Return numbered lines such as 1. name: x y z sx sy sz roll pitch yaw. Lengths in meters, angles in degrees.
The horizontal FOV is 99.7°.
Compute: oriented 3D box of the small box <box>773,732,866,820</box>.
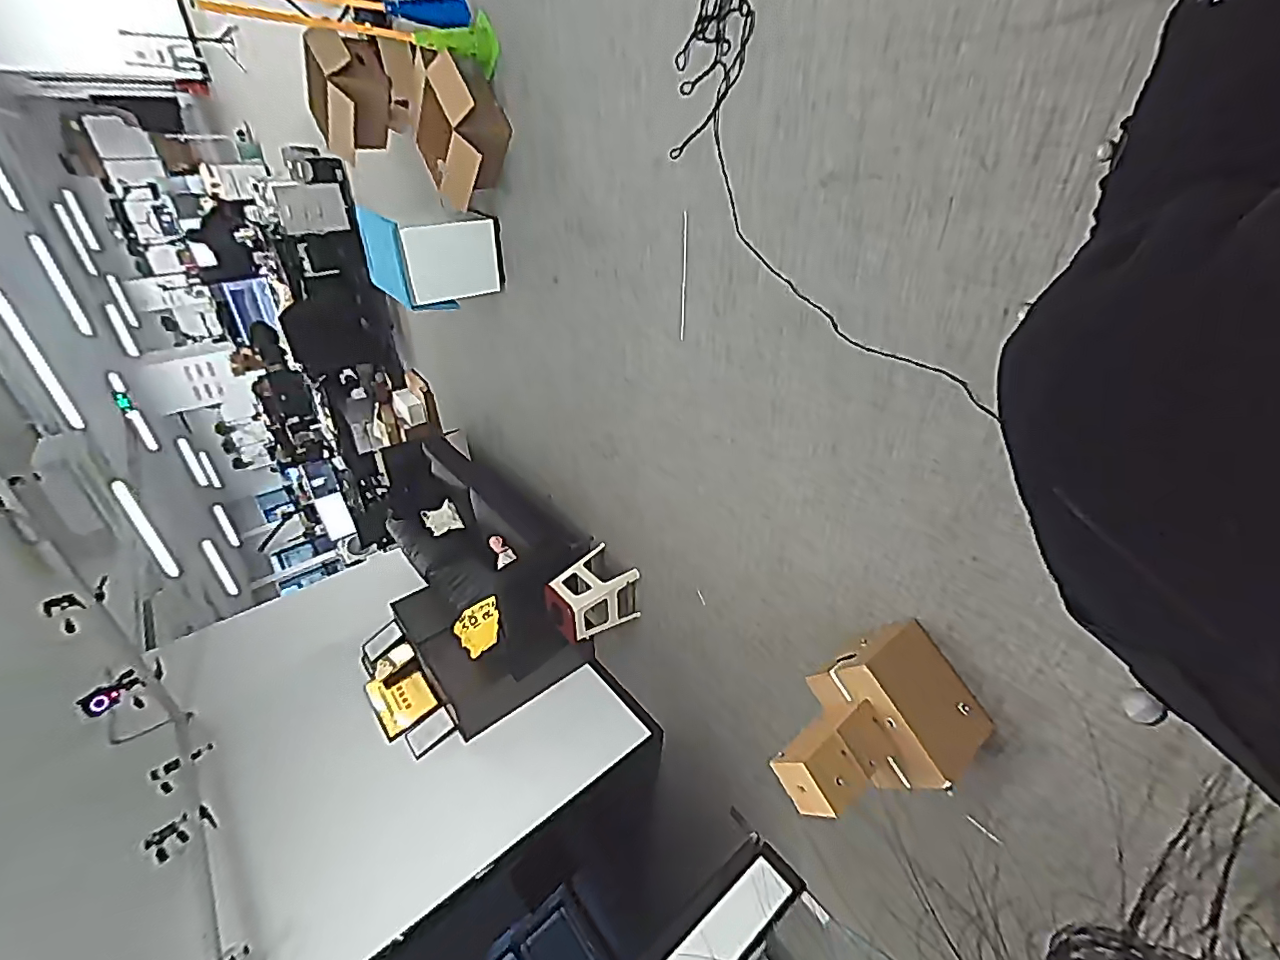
1. small box: 0.540 0.873 1.608 0.168 0.176 0.179 58 149 13
